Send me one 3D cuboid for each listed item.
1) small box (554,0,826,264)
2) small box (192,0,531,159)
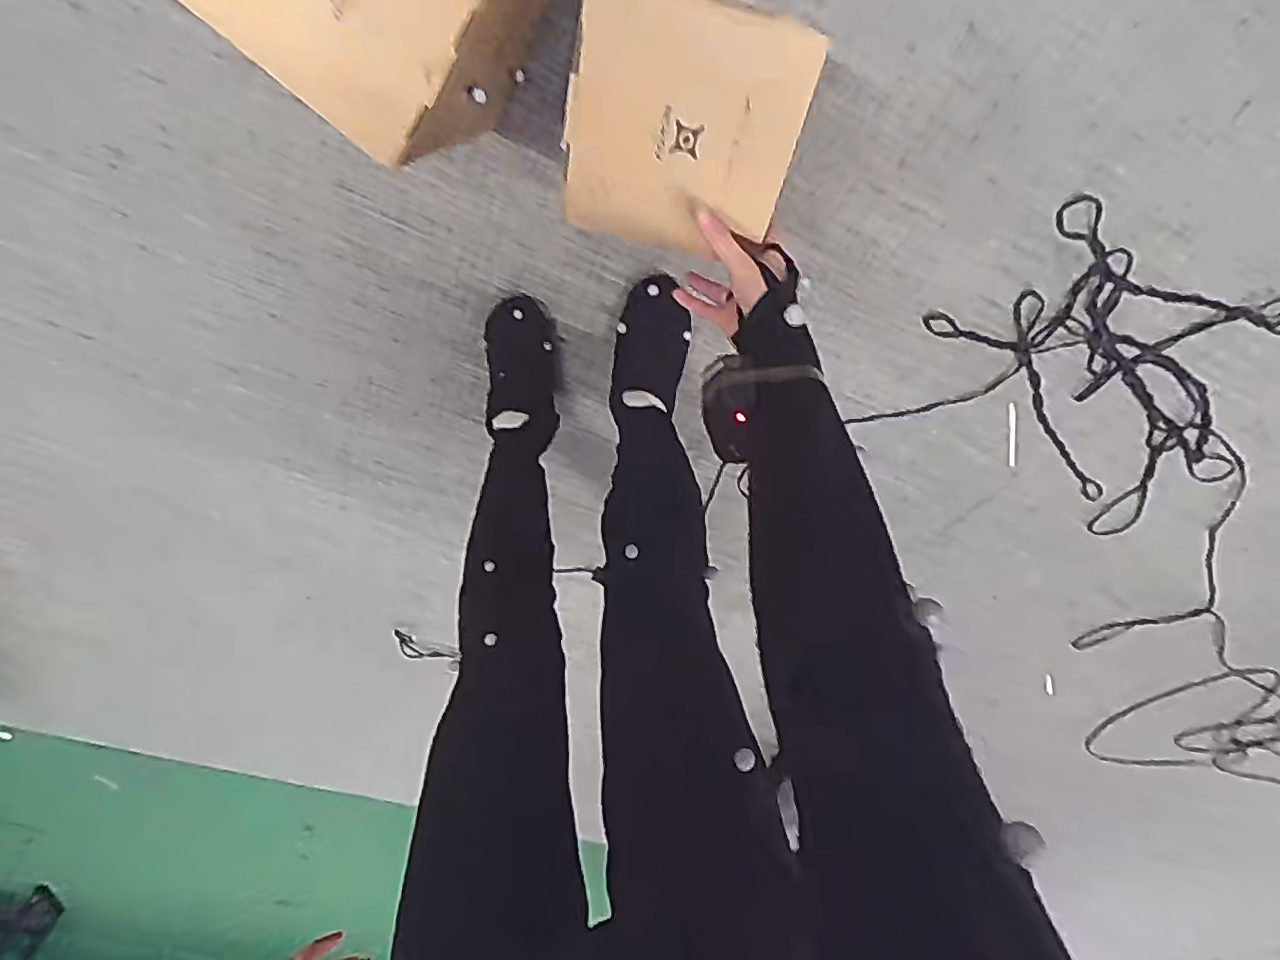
[{"bbox_3d":[0.033,-0.318,0.479,0.179,0.176,0.168,12,129,-5],"label":"small box"},{"bbox_3d":[-0.211,-0.399,0.432,0.179,0.176,0.168,35,122,-23],"label":"small box"}]
